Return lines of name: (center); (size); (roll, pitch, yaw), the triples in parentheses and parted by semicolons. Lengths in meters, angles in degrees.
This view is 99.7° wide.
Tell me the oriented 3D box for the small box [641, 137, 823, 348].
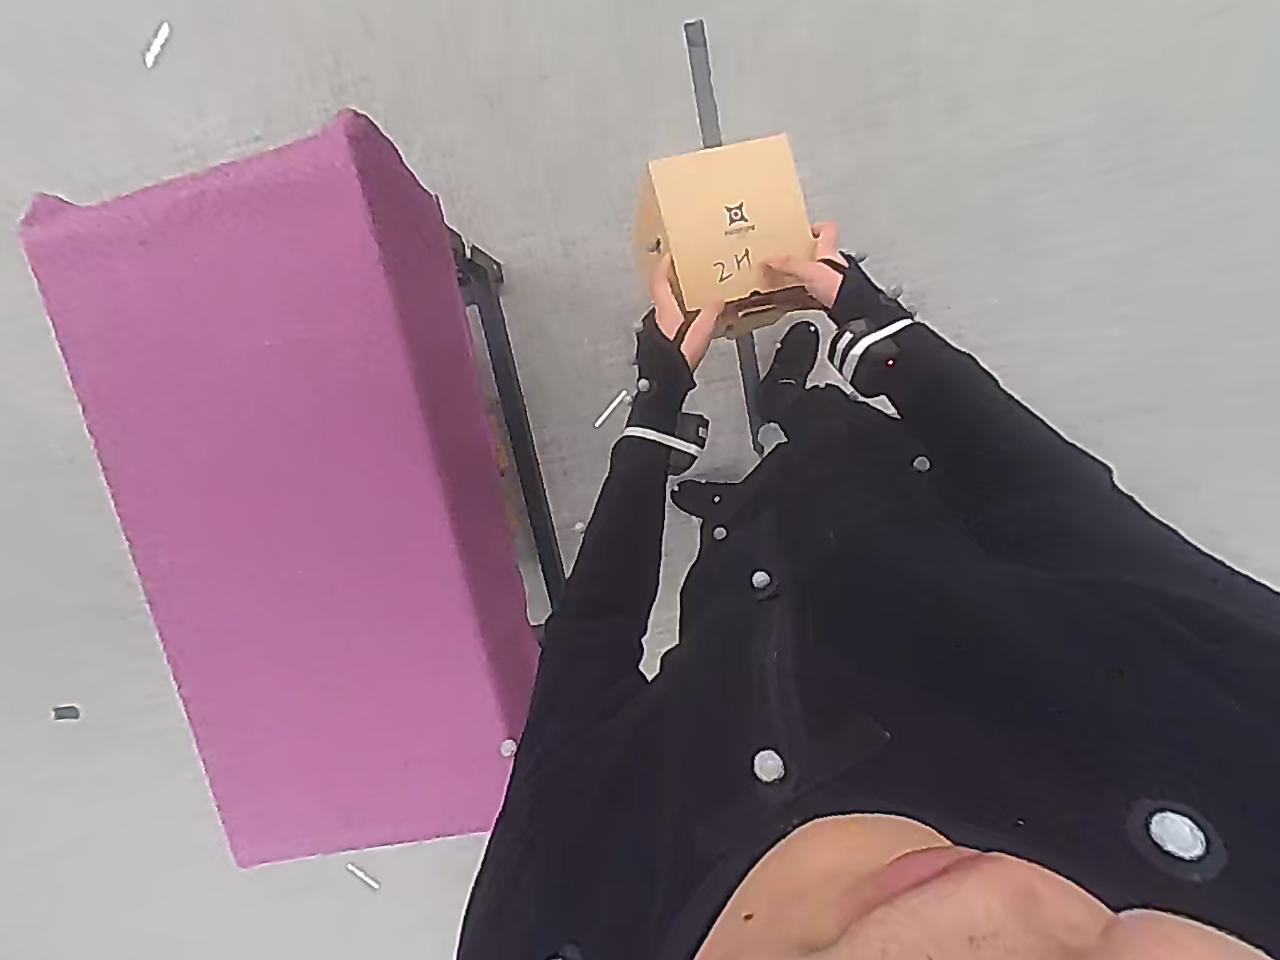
small box: (0.103, -0.287, 0.686); (0.168, 0.176, 0.179); (-14, 91, -5)
